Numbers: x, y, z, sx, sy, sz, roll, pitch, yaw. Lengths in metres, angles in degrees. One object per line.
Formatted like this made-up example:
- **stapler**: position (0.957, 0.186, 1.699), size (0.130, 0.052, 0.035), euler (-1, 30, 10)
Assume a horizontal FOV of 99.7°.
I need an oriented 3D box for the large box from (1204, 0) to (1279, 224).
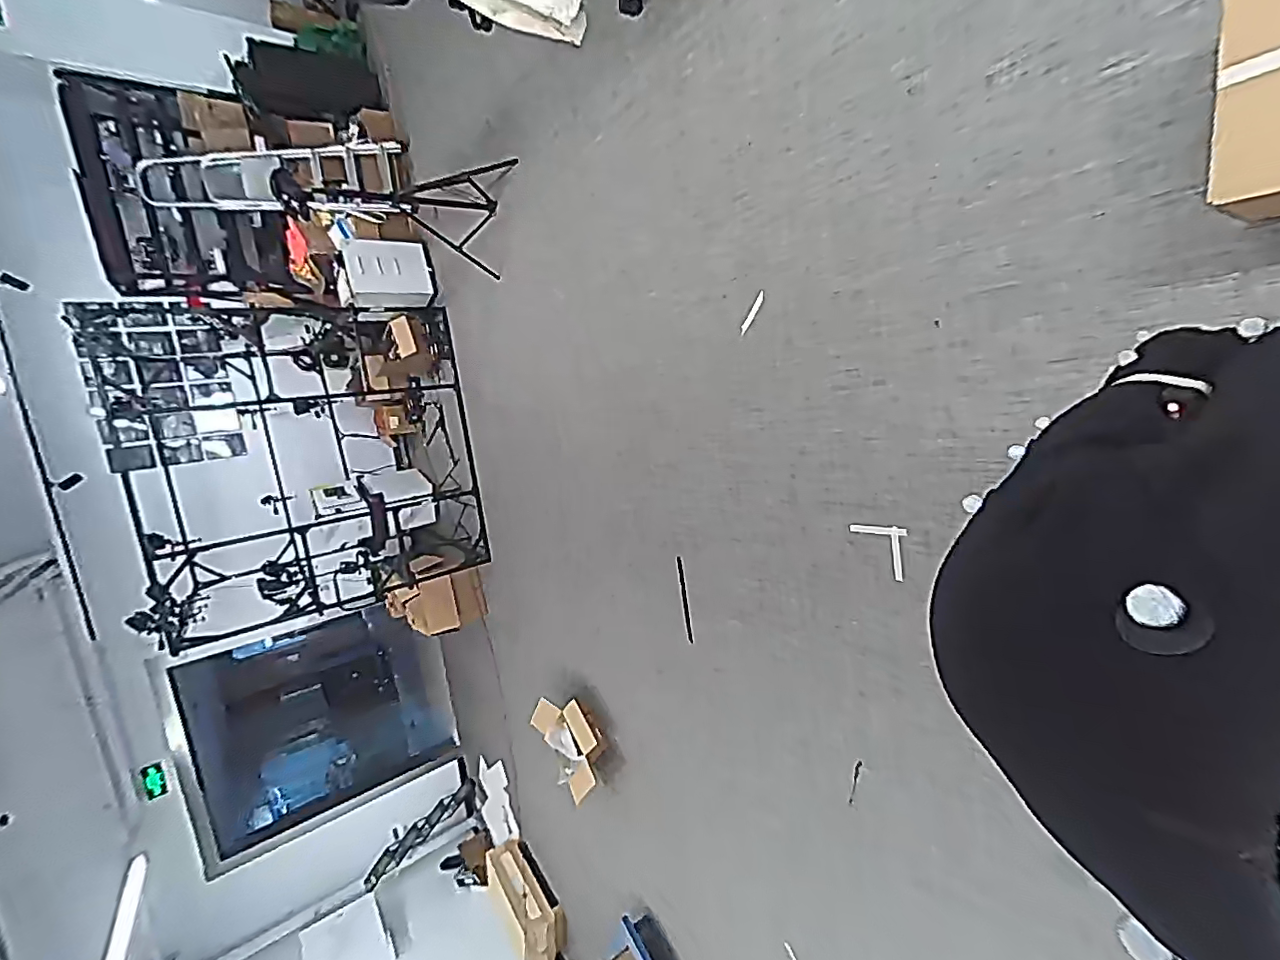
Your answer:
- **large box**: position (0.995, -0.540, 0.650), size (0.408, 0.320, 0.320), euler (7, 108, 53)
